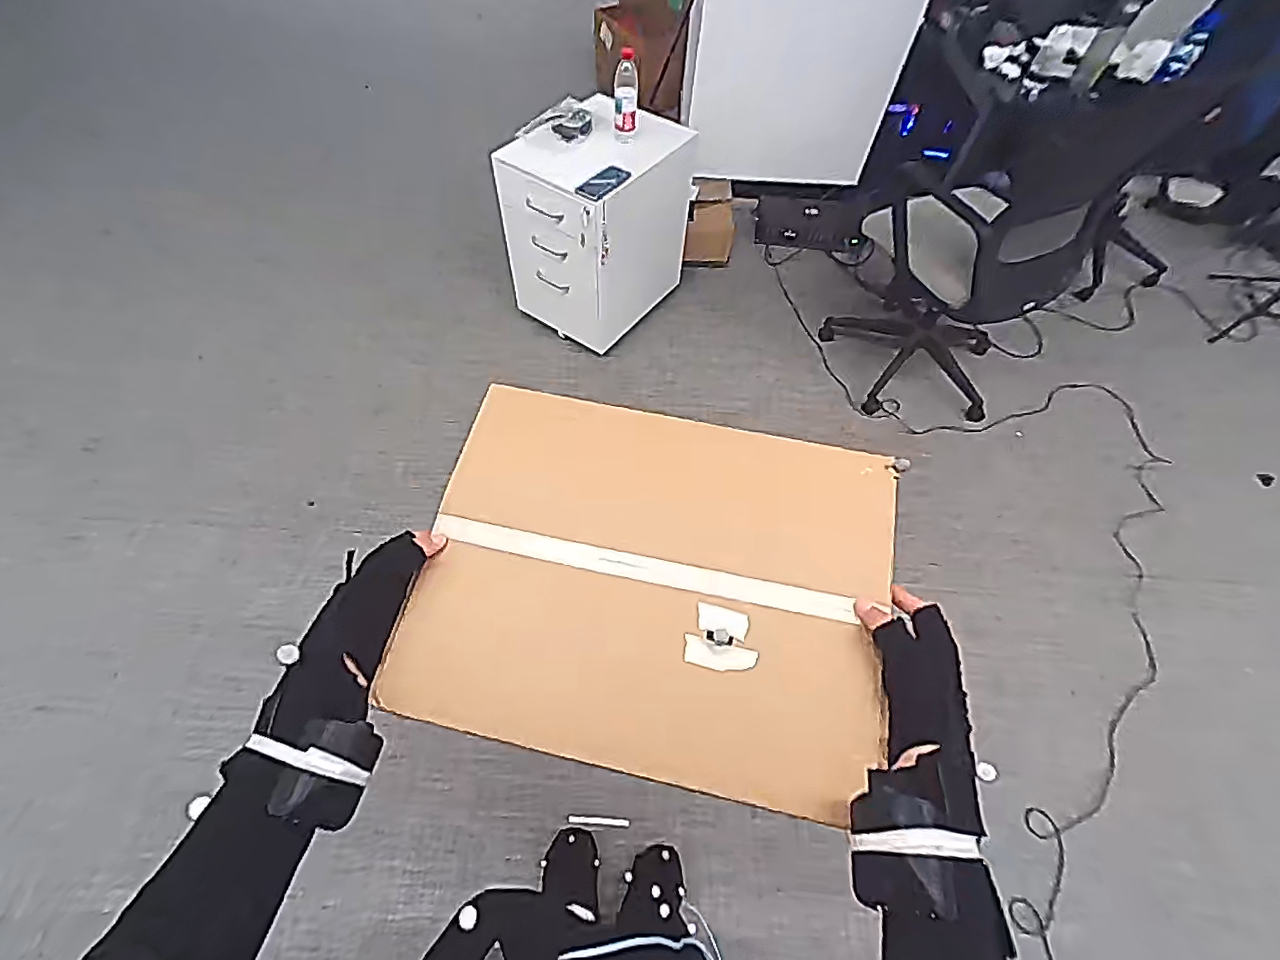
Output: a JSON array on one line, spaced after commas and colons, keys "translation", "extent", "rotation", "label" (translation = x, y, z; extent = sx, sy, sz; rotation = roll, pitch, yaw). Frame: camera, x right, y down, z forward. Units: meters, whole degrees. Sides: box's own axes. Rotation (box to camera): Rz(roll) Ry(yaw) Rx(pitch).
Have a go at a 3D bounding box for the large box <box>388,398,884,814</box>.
[{"translation": [0.013, 0.145, 0.622], "extent": [0.408, 0.320, 0.320], "rotation": [12, 67, 5], "label": "large box"}]
